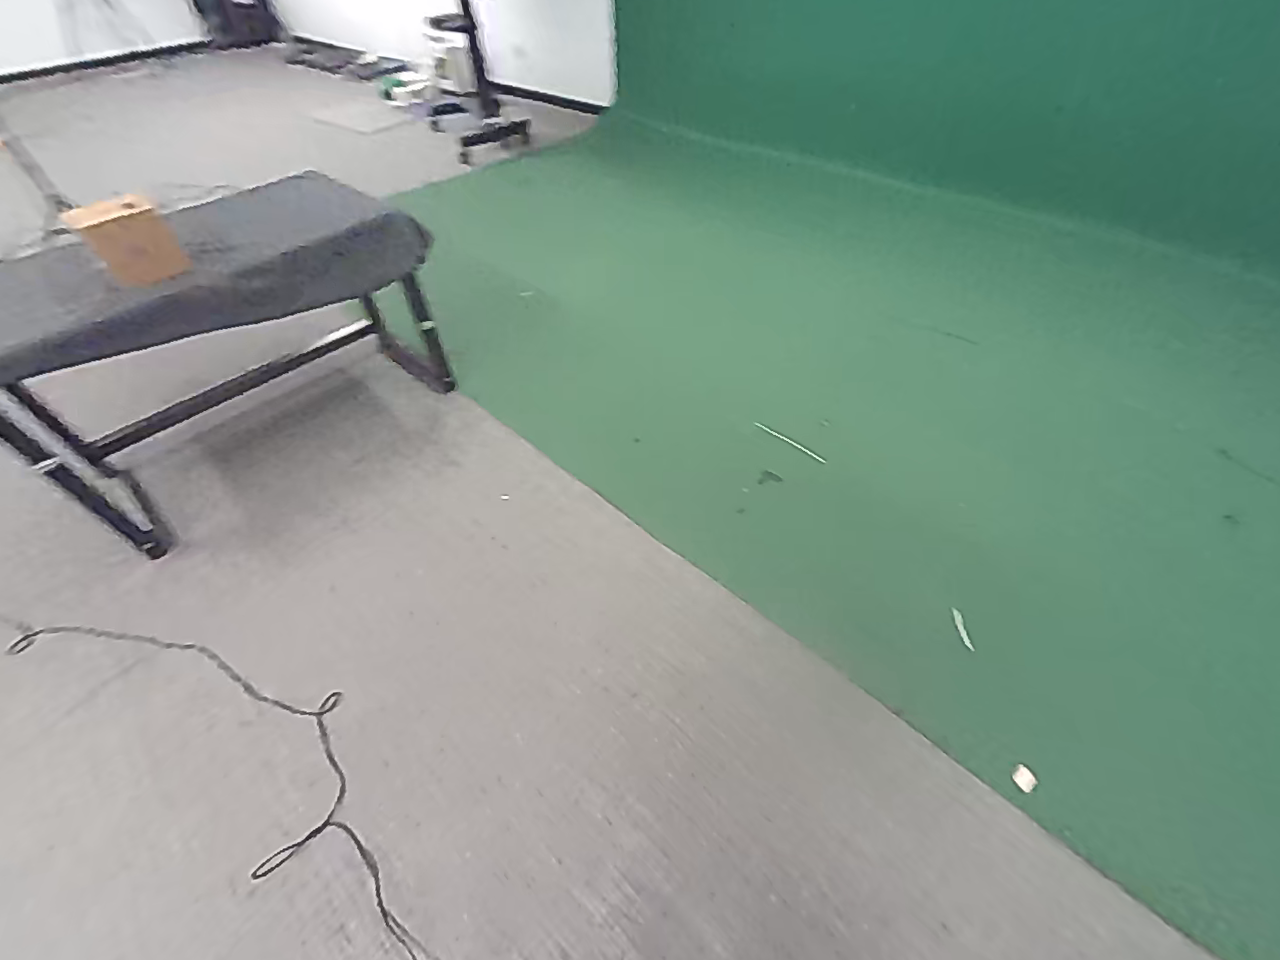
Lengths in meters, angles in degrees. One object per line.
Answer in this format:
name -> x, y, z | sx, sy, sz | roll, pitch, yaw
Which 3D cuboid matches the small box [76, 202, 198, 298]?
small box -> -1.360, -0.628, 1.477 | 0.168, 0.176, 0.179 | 33, 58, 29
